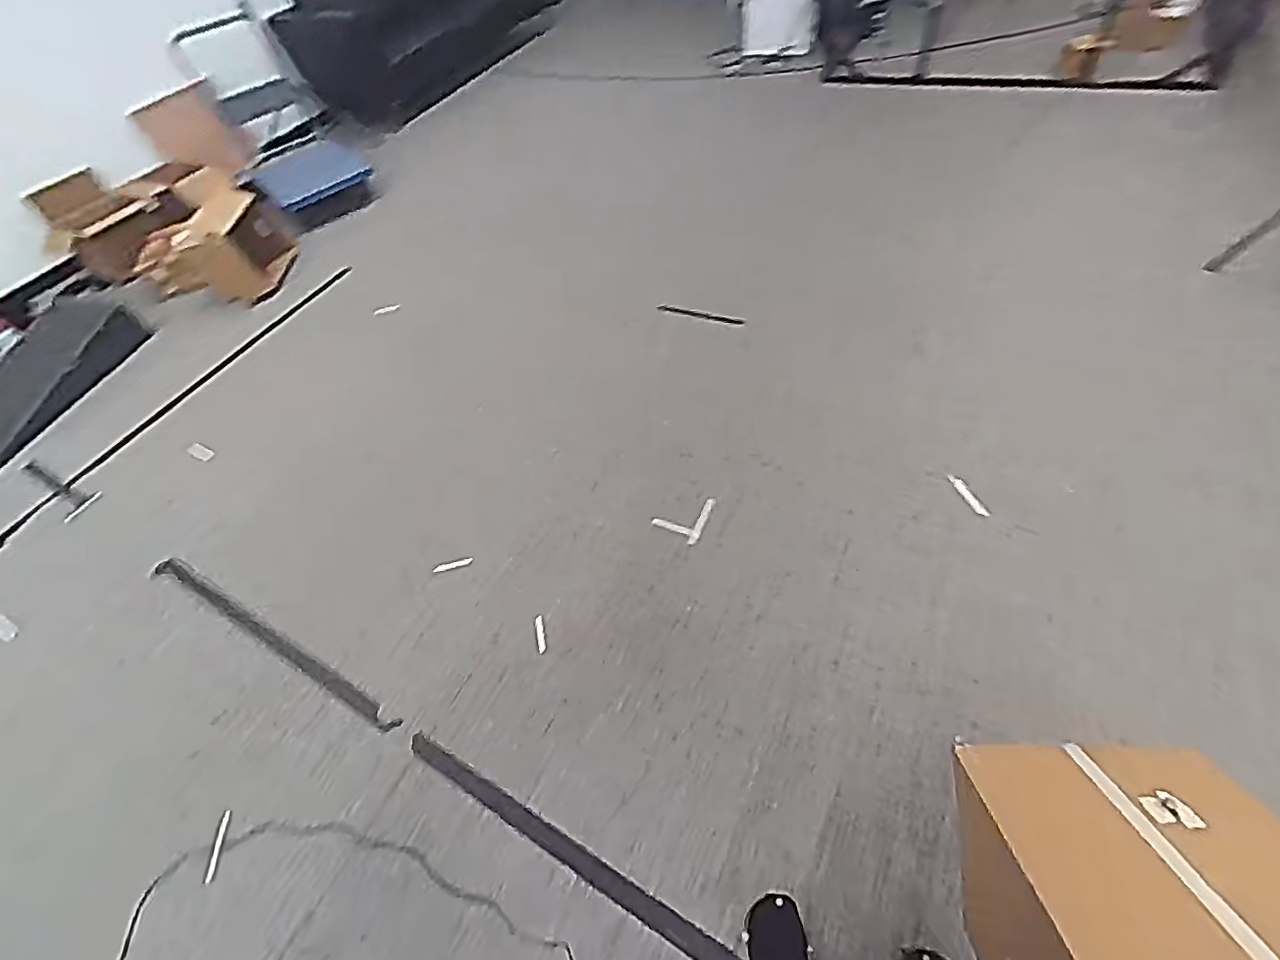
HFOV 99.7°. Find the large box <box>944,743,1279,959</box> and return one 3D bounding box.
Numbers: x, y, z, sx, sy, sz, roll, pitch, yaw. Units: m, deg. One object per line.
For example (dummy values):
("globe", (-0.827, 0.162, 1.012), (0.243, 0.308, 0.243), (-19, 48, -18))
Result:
("large box", (0.610, 0.577, 0.640), (0.320, 0.408, 0.320), (-5, 96, 11))
